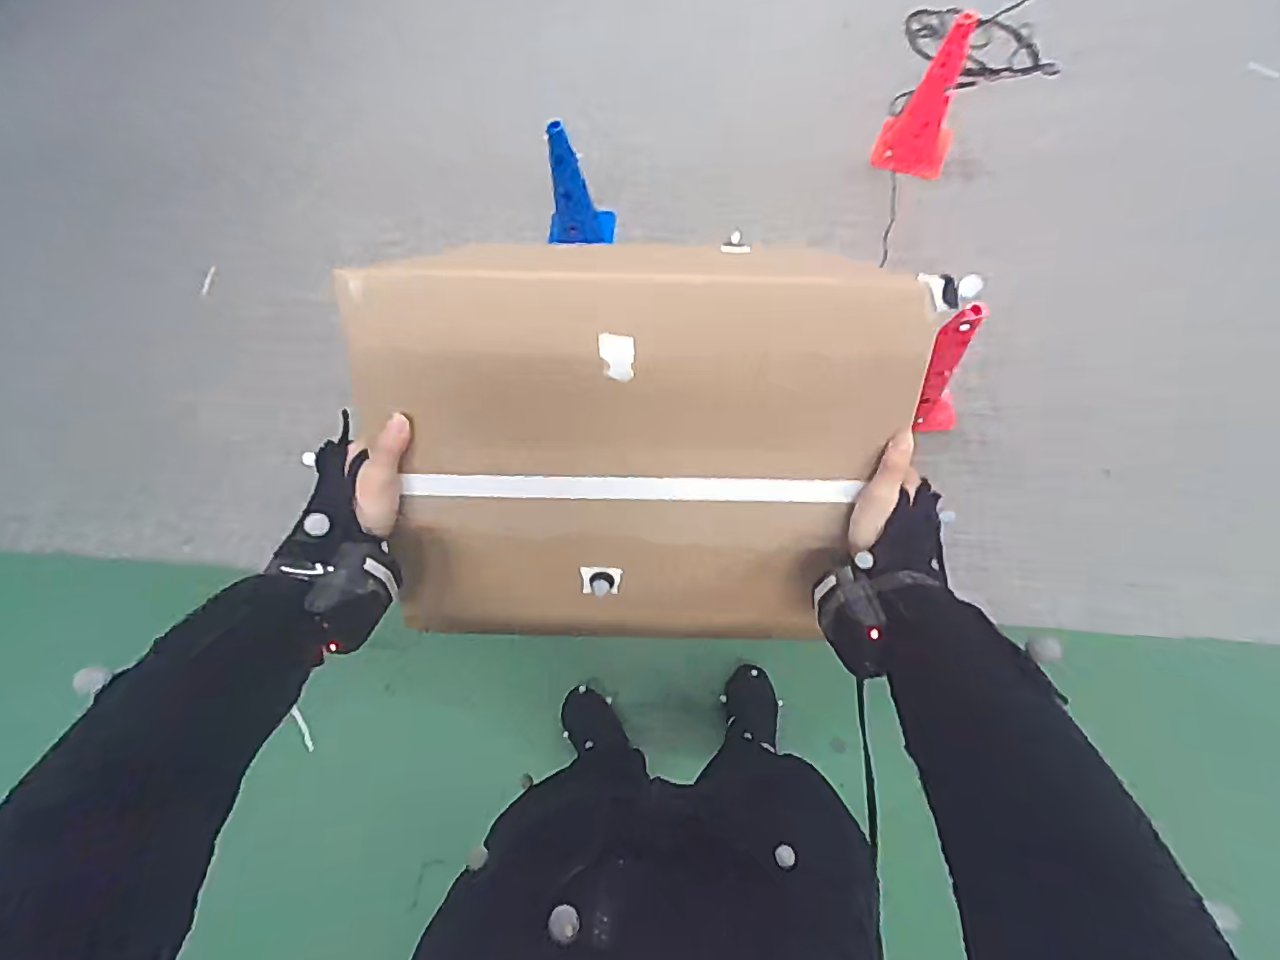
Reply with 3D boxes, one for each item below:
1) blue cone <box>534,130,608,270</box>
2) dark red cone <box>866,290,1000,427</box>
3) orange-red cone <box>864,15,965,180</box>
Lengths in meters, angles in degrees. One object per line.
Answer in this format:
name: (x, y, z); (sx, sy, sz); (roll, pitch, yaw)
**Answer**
blue cone: (-0.211, -0.768, 1.476); (0.192, 0.380, 0.193); (3, 70, 7)
dark red cone: (0.649, -0.274, 1.168); (0.202, 0.394, 0.201); (-4, 73, 4)
orange-red cone: (0.779, -1.046, 1.461); (0.199, 0.360, 0.198); (22, 75, 12)
